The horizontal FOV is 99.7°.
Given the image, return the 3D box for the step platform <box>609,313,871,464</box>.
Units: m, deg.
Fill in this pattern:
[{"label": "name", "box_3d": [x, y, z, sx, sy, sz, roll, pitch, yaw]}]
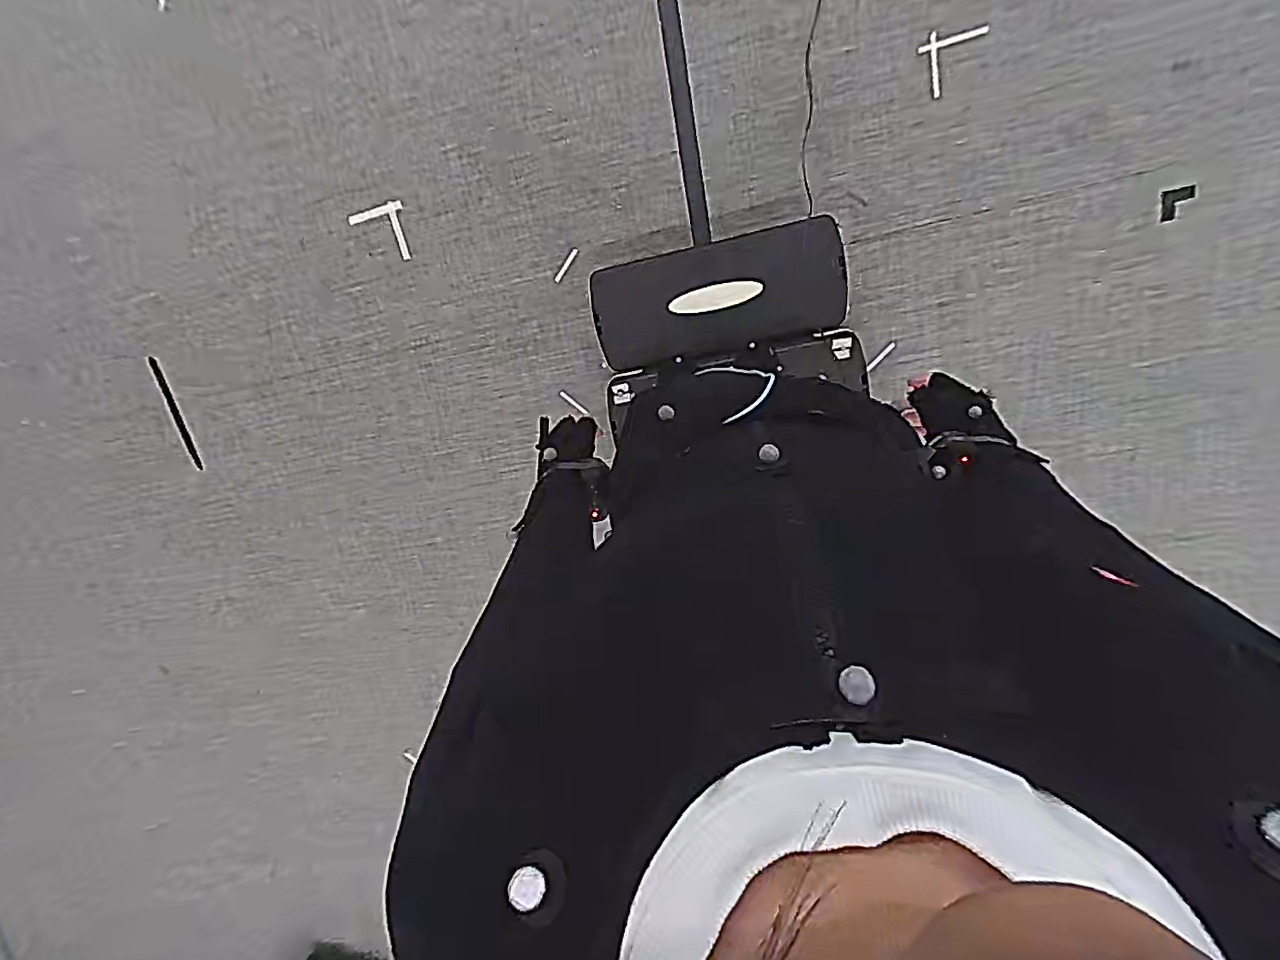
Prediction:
[{"label": "step platform", "box_3d": [0.260, -0.242, 1.478, 0.684, 0.204, 0.286, -10, 104, 12]}]
